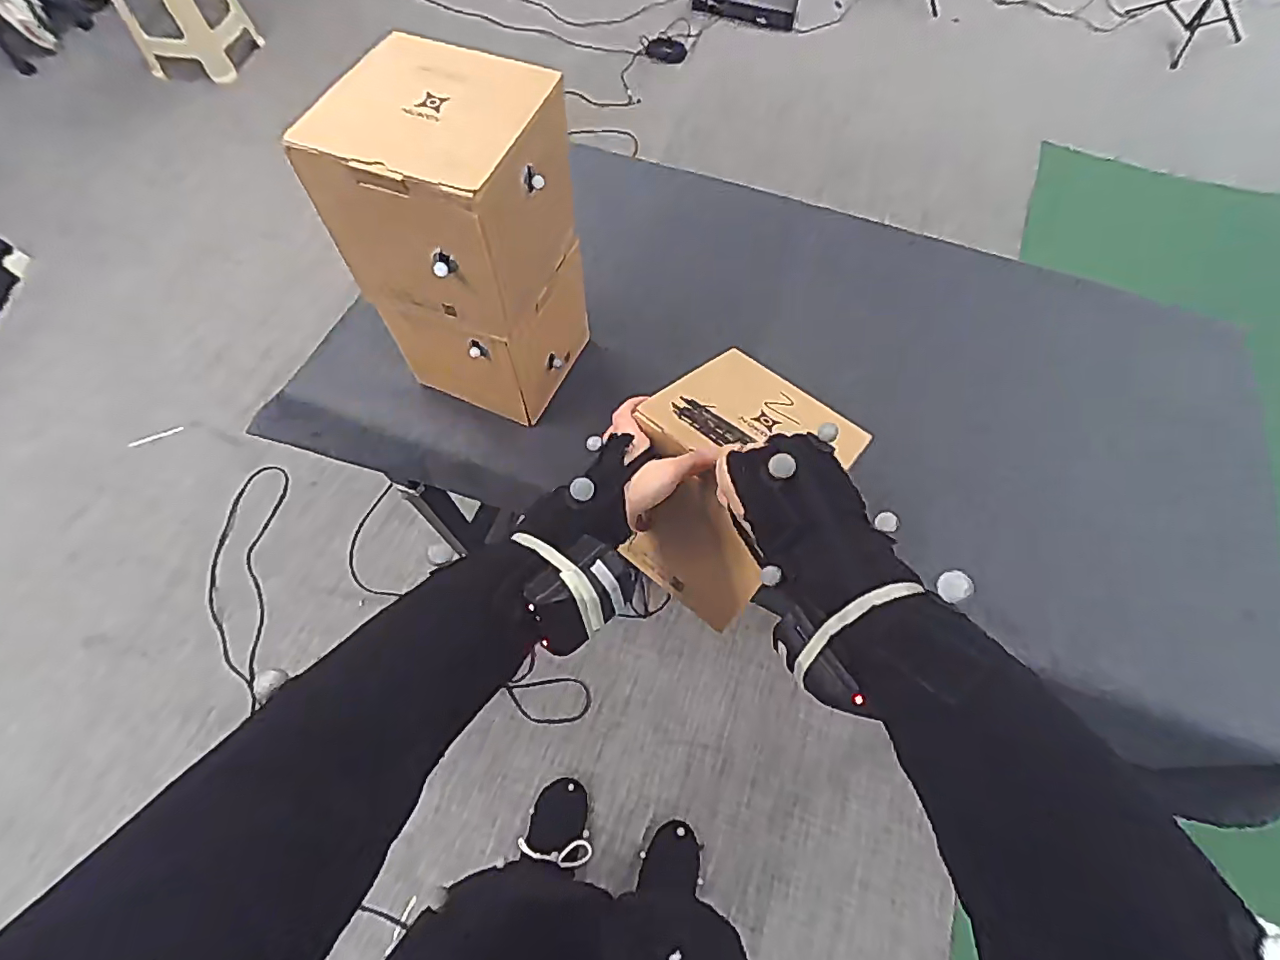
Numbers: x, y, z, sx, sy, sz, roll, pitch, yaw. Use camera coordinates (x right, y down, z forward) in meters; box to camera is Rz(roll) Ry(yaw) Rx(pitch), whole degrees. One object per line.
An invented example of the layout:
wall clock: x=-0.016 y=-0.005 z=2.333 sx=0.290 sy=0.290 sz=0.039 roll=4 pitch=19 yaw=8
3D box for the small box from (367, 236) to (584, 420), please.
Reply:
small box: x=-0.182 y=-0.200 z=0.662 sx=0.179 sy=0.176 sz=0.168 roll=22 pitch=64 yaw=9

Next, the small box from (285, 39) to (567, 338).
small box: x=-0.175 y=-0.266 z=0.515 sx=0.168 sy=0.176 sz=0.179 roll=18 pitch=63 yaw=5
